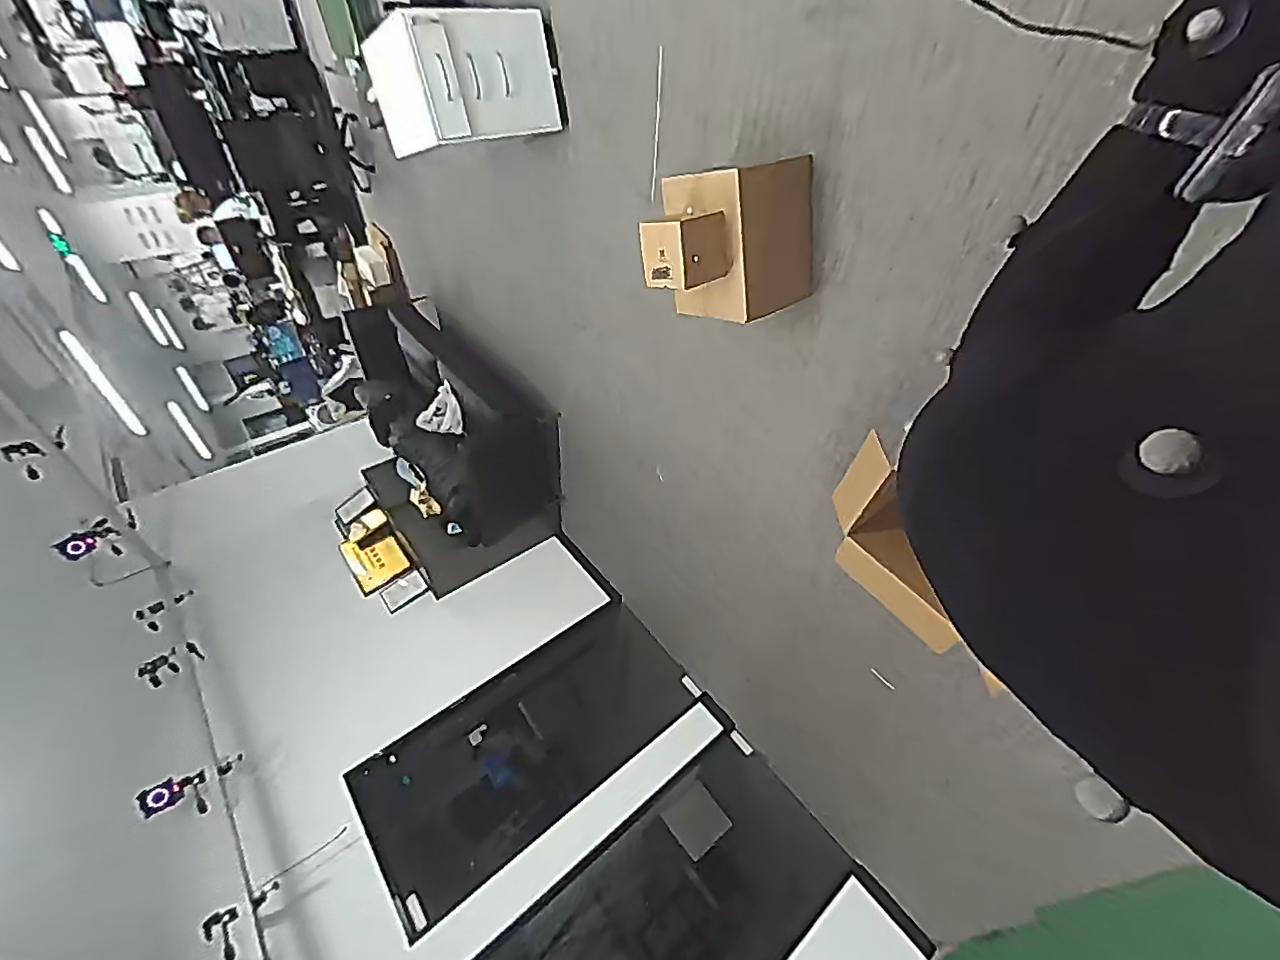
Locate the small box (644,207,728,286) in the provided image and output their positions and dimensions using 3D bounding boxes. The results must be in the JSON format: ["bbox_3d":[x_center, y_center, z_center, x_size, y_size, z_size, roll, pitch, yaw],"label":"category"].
[{"bbox_3d":[0.136,-0.665,1.536,0.168,0.176,0.179,27,136,45],"label":"small box"}]
